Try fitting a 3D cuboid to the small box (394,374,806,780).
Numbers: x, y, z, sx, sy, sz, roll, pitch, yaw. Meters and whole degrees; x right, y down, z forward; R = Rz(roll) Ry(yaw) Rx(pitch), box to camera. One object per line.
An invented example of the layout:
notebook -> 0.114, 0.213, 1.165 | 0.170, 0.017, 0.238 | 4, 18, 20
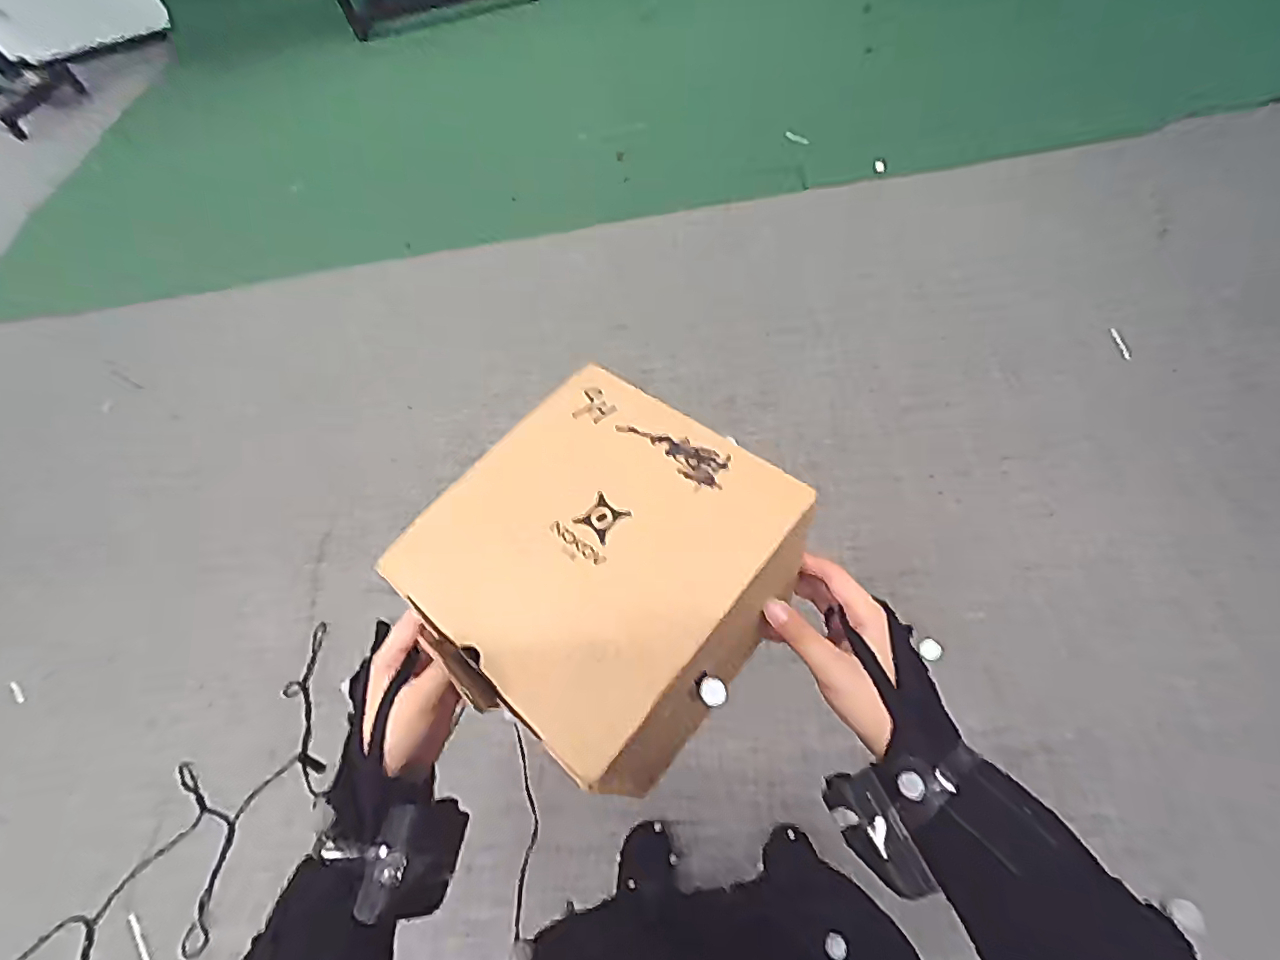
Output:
small box -> -0.012, 0.071, 0.360 | 0.168, 0.176, 0.179 | 34, 70, 26
